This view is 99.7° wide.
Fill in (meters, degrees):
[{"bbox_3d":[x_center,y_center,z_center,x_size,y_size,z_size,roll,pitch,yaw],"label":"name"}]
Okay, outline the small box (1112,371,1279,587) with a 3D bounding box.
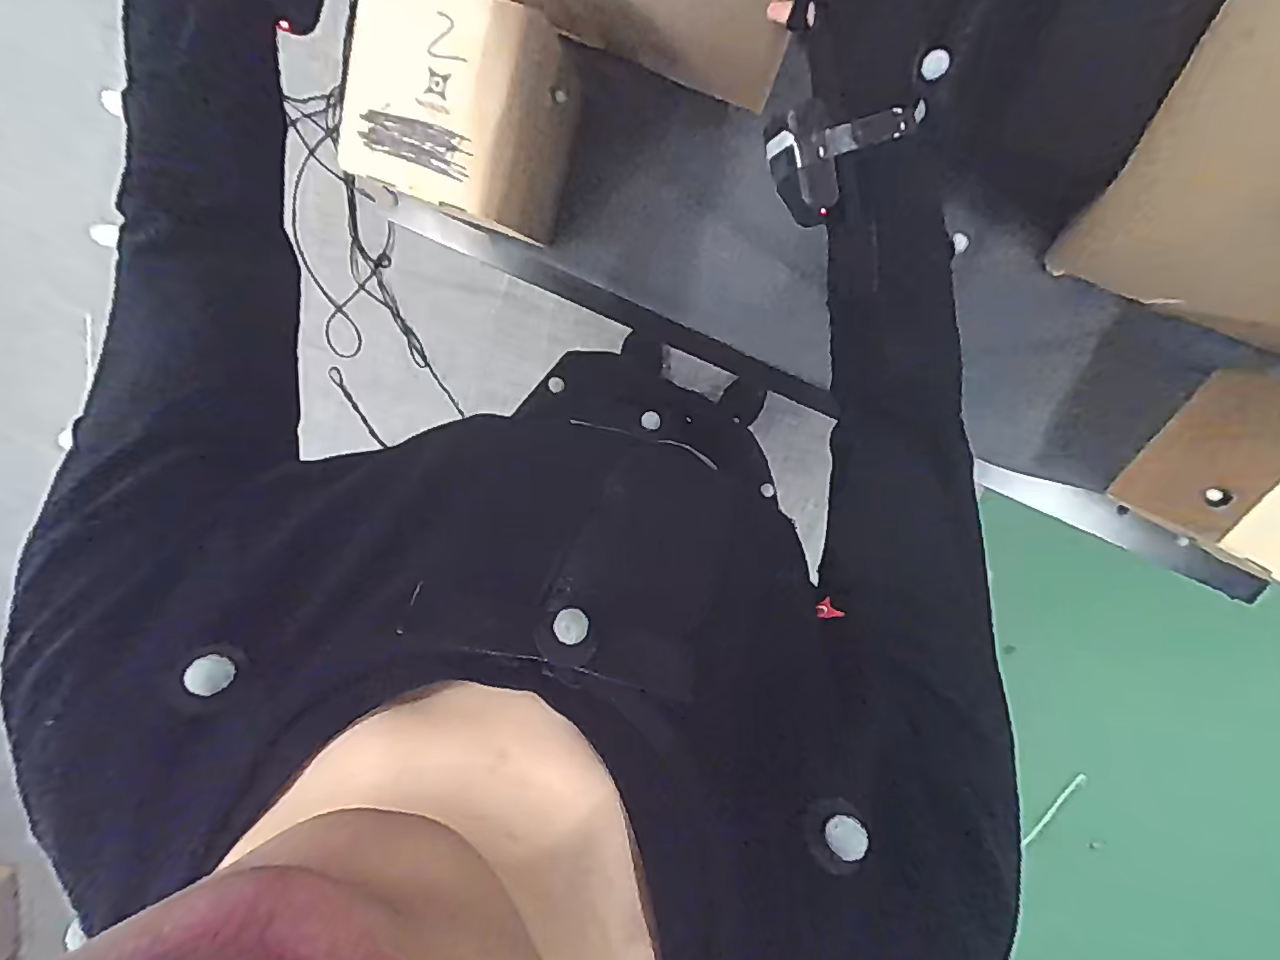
[{"bbox_3d":[0.662,0.003,0.560,0.168,0.176,0.179,29,110,0],"label":"small box"}]
